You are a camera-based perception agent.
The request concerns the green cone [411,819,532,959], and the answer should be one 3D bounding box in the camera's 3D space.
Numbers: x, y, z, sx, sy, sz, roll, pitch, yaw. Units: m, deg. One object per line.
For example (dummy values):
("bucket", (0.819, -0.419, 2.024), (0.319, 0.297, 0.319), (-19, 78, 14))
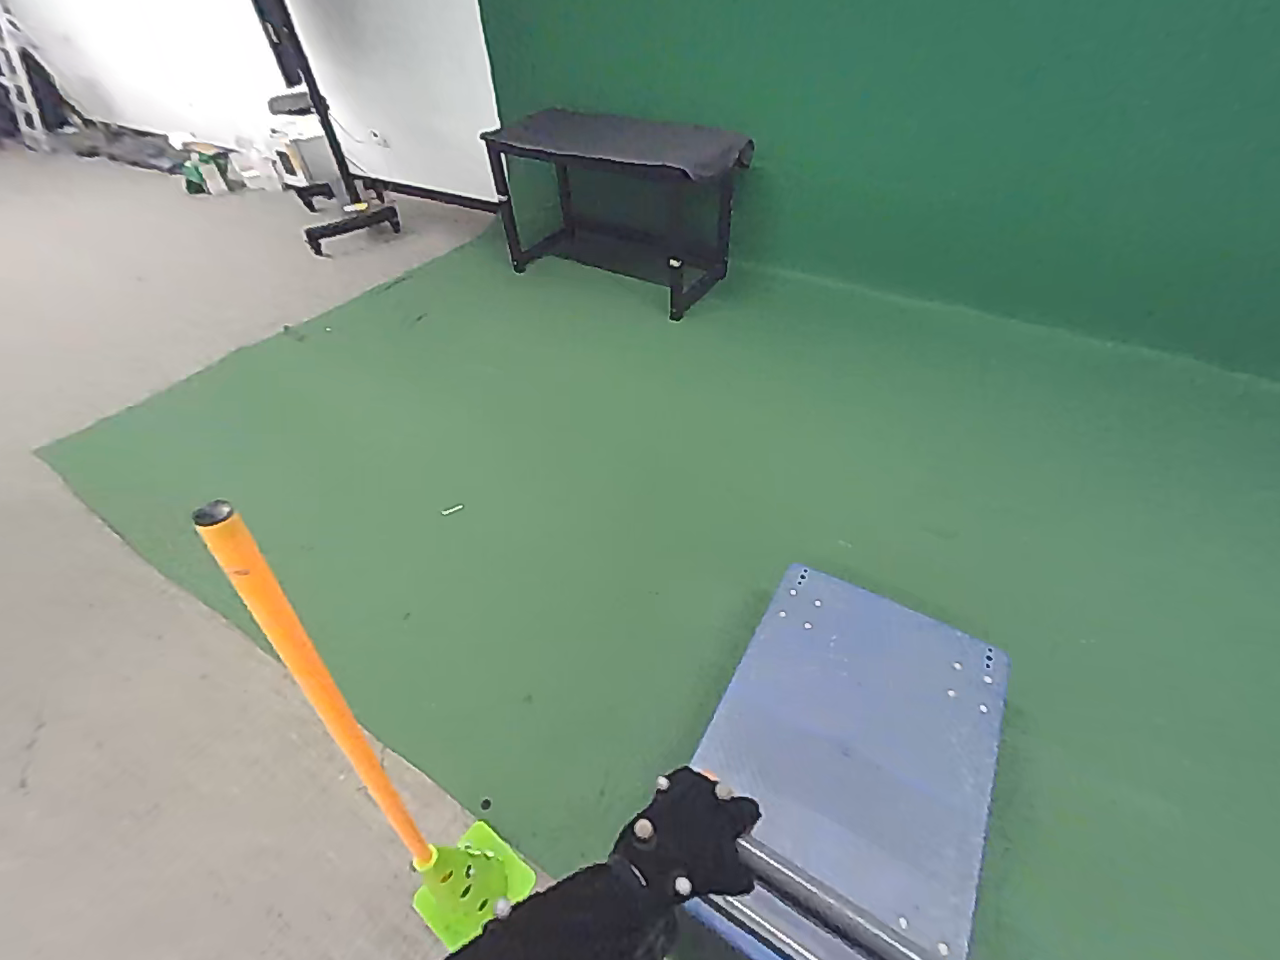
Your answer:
("green cone", (-0.372, 0.775, 1.075), (0.202, 0.368, 0.200), (26, 51, 26))
